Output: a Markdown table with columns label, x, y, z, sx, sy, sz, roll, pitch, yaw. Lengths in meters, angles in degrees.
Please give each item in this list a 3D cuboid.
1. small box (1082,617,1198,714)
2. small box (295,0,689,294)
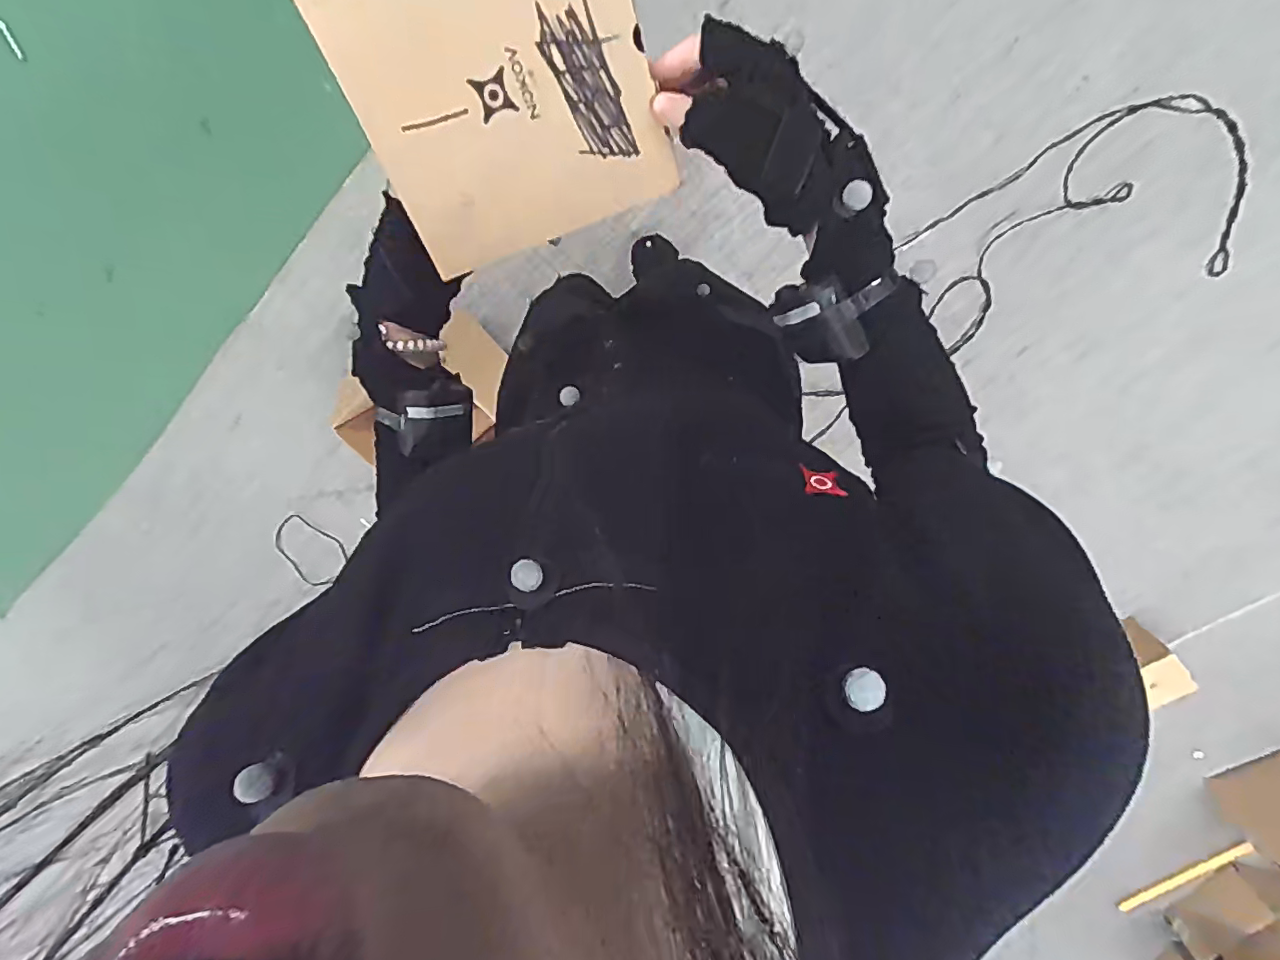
| label | x | y | z | sx | sy | sz | roll | pitch | yaw |
| --- | --- | --- | --- | --- | --- | --- | --- | --- | --- |
| small box | 1.476 | 0.549 | 1.614 | 0.179 | 0.176 | 0.168 | -40 | 106 | 19 |
| small box | -0.085 | -0.258 | 0.379 | 0.179 | 0.176 | 0.168 | -20 | 124 | 3 |
